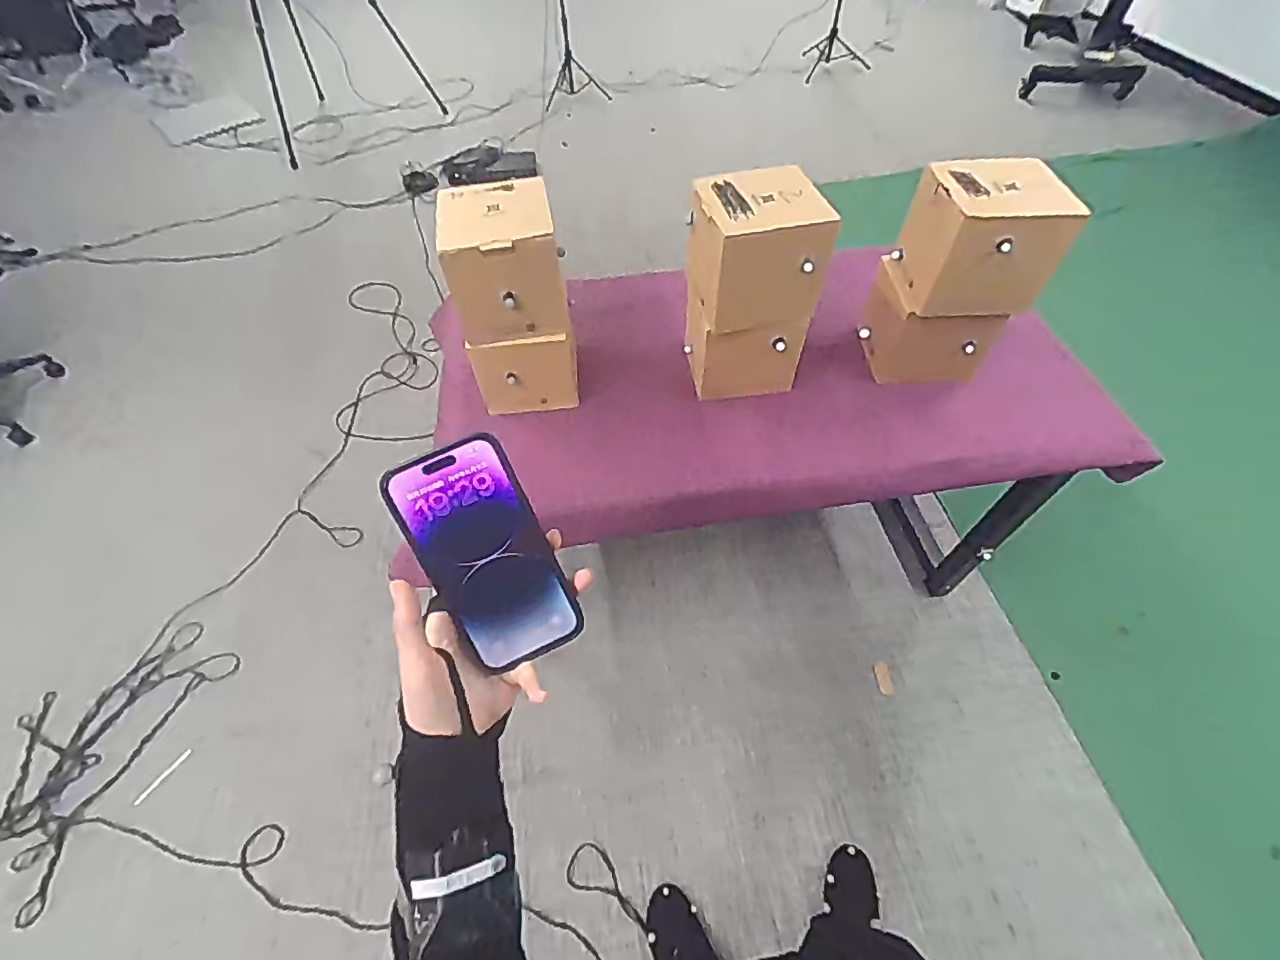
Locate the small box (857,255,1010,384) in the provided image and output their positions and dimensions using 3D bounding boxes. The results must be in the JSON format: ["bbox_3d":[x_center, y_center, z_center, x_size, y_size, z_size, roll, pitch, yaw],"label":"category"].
[{"bbox_3d":[0.524,-0.291,0.993,0.179,0.176,0.168,-1,54,2],"label":"small box"}]

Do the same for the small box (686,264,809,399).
[{"bbox_3d":[0.185,-0.267,0.989,0.179,0.176,0.168,-6,55,-2],"label":"small box"}]

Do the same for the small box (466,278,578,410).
[{"bbox_3d":[-0.205,-0.242,0.989,0.168,0.176,0.179,-6,55,-2],"label":"small box"}]

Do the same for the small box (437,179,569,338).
[{"bbox_3d":[-0.212,-0.343,0.860,0.168,0.176,0.179,-10,56,-5],"label":"small box"}]

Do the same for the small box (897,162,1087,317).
[{"bbox_3d":[0.529,-0.373,0.851,0.179,0.176,0.168,-1,55,1],"label":"small box"}]
